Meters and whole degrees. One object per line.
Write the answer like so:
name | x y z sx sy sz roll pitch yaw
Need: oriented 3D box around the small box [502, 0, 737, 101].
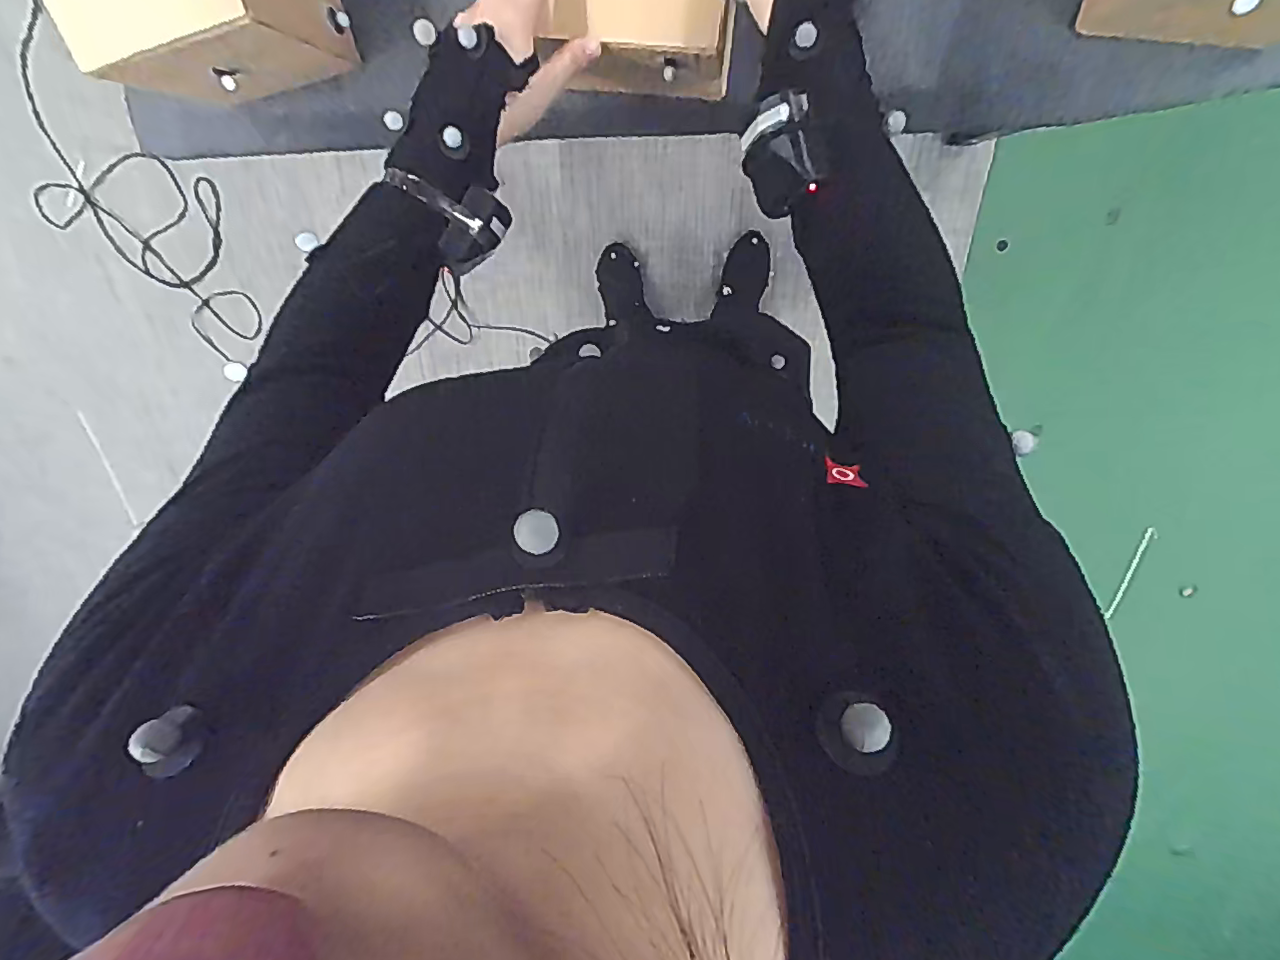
small box | -0.005 -0.441 0.460 0.179 0.176 0.168 8 116 5

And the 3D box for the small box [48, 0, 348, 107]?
small box | -0.404 -0.466 0.494 0.179 0.176 0.168 -8 115 11
